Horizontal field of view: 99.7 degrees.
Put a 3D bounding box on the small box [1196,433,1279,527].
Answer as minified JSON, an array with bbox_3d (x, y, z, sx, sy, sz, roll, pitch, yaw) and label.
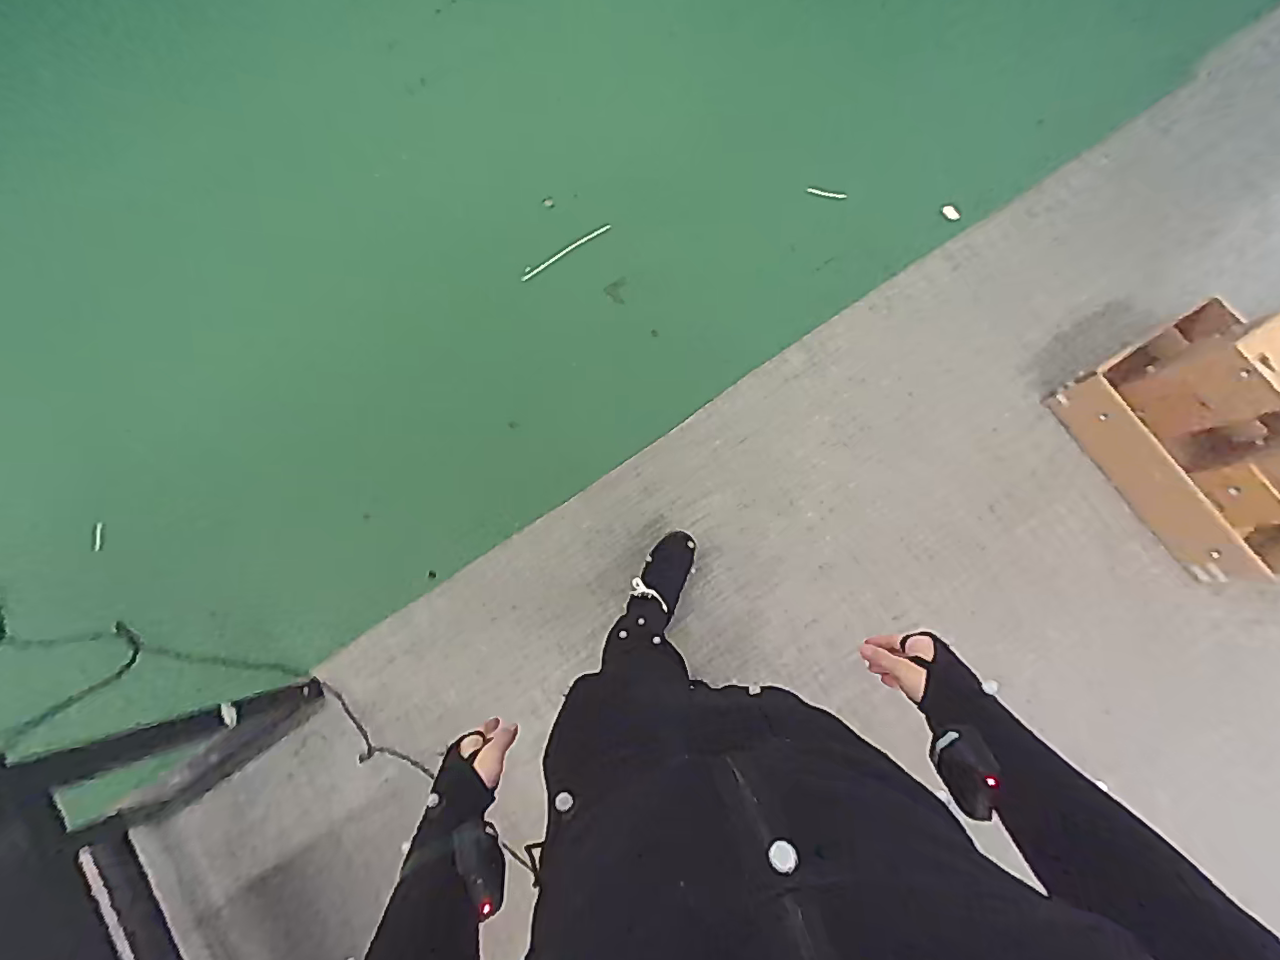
[{"bbox_3d":[1.533,0.000,1.316,0.179,0.176,0.168,-32,78,-3],"label":"small box"}]

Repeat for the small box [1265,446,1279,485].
[{"bbox_3d":[1.525,-0.032,1.155,0.179,0.176,0.168,-31,79,-3],"label":"small box"}]

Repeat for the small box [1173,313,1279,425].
[{"bbox_3d":[1.371,-0.249,1.201,0.179,0.176,0.168,-34,79,-3],"label":"small box"}]
